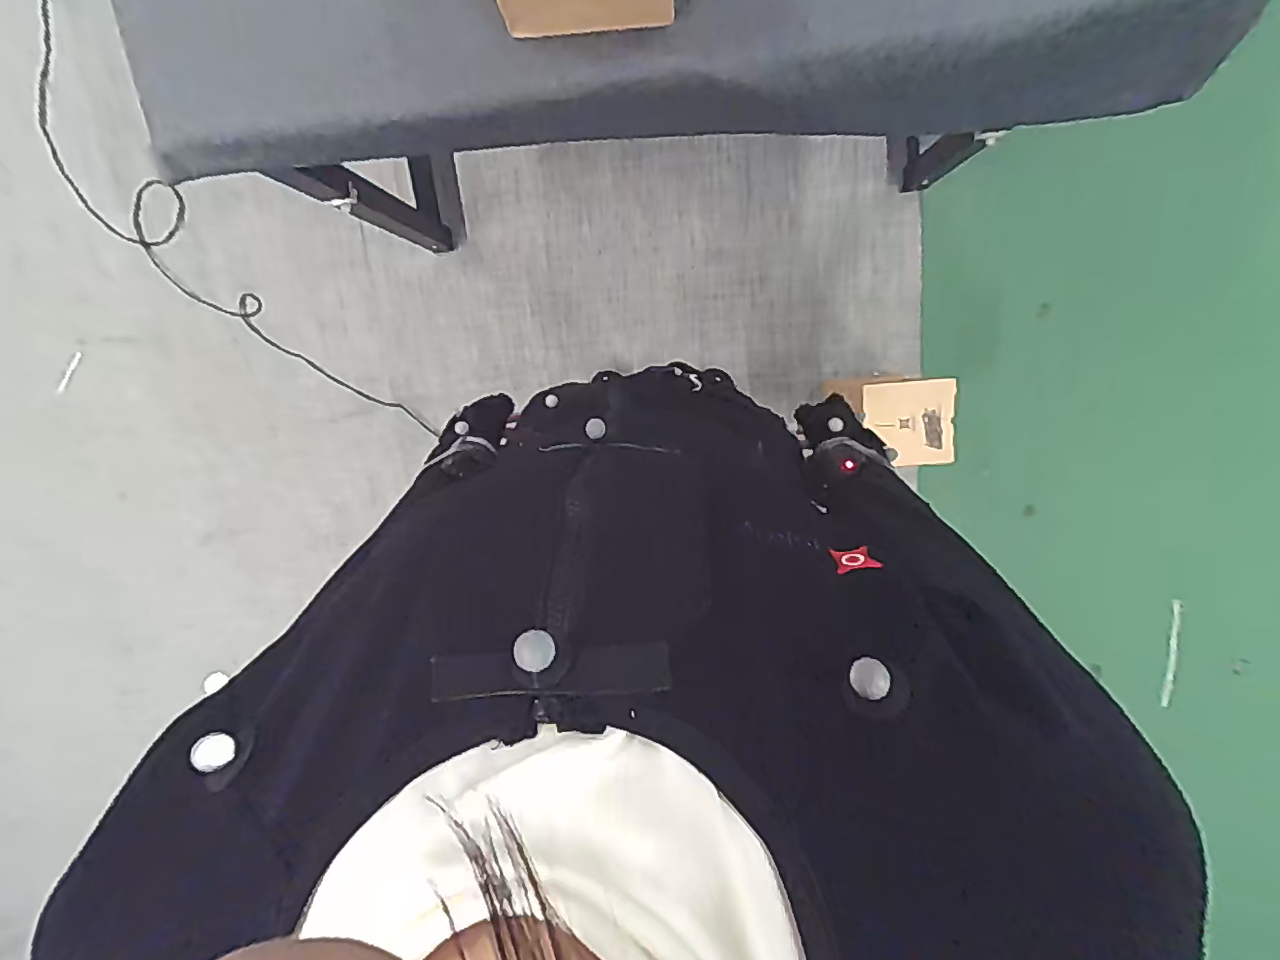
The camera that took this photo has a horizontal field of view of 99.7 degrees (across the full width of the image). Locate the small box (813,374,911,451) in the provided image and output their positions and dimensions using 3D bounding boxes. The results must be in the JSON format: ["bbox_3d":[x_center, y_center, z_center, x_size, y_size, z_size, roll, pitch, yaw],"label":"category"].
[{"bbox_3d":[0.525,-0.163,1.294,0.179,0.176,0.168,-5,101,5],"label":"small box"}]

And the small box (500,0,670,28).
[{"bbox_3d":[-0.062,-0.550,0.487,0.179,0.176,0.168,-2,101,3],"label":"small box"}]

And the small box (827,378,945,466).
[{"bbox_3d":[0.507,-0.127,1.134,0.179,0.176,0.168,-3,101,4],"label":"small box"}]
